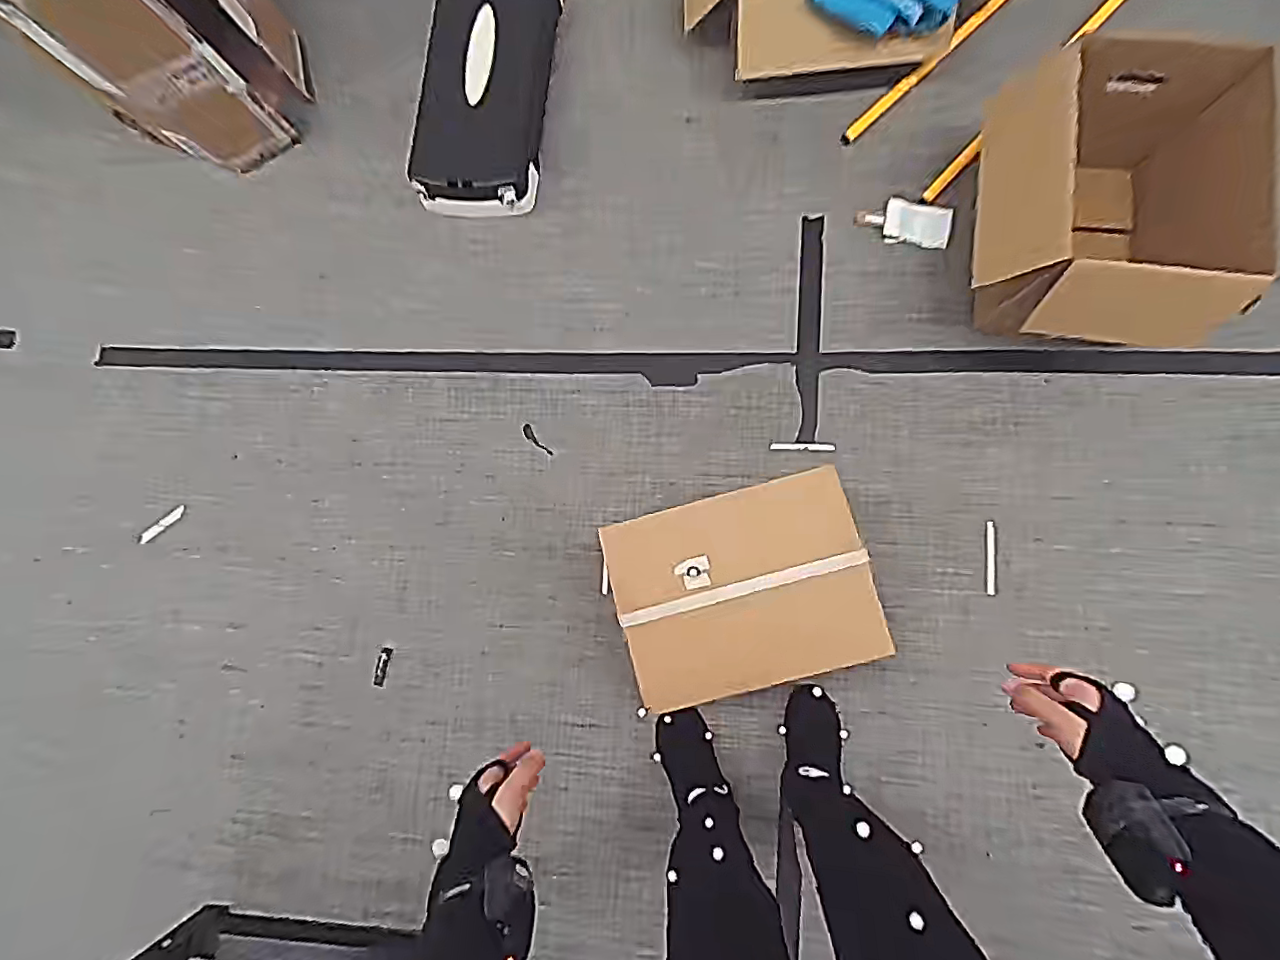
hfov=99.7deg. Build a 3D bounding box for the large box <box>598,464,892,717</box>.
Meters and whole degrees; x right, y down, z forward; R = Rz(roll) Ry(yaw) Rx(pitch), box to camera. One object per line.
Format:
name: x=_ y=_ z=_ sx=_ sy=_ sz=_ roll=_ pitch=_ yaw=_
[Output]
large box: x=0.176 y=0.188 z=1.007 sx=0.408 sy=0.320 sz=0.320 roll=-16 pitch=82 yaw=4
